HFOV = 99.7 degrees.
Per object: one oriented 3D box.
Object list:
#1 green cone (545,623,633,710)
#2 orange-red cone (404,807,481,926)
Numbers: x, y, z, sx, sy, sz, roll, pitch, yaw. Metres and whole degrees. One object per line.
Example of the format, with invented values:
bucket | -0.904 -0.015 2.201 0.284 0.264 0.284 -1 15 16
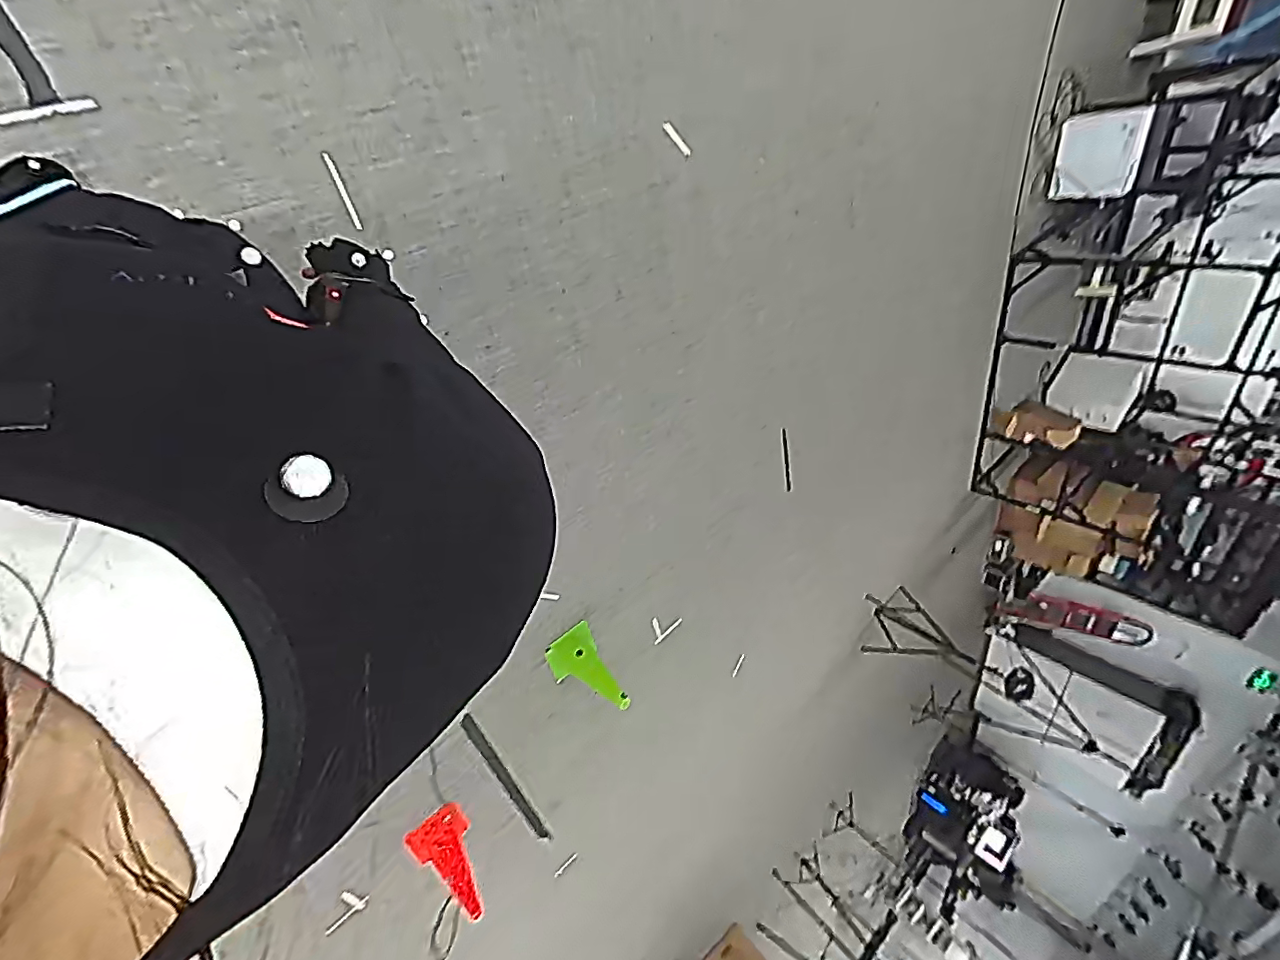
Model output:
green cone | -0.160 0.739 2.019 0.202 0.368 0.200 -35 129 -27
orange-red cone | -0.645 1.378 1.879 0.199 0.360 0.198 -29 125 -28
